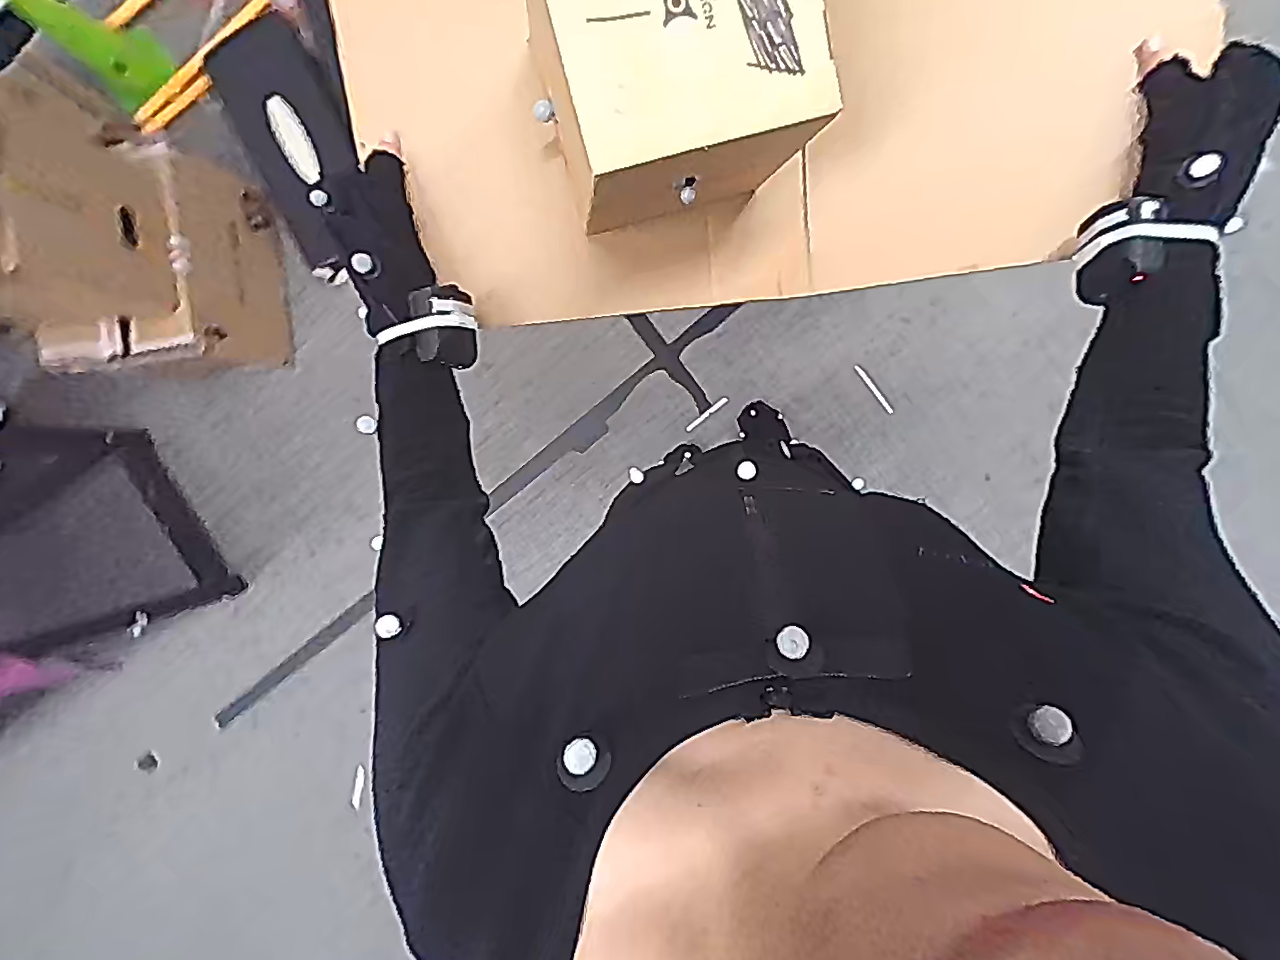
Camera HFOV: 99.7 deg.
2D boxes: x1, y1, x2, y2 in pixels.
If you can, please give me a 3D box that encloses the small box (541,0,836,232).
[{"bbox_3d":[0.024,-0.314,0.424,0.179,0.176,0.168,-16,104,-4],"label":"small box"}]
